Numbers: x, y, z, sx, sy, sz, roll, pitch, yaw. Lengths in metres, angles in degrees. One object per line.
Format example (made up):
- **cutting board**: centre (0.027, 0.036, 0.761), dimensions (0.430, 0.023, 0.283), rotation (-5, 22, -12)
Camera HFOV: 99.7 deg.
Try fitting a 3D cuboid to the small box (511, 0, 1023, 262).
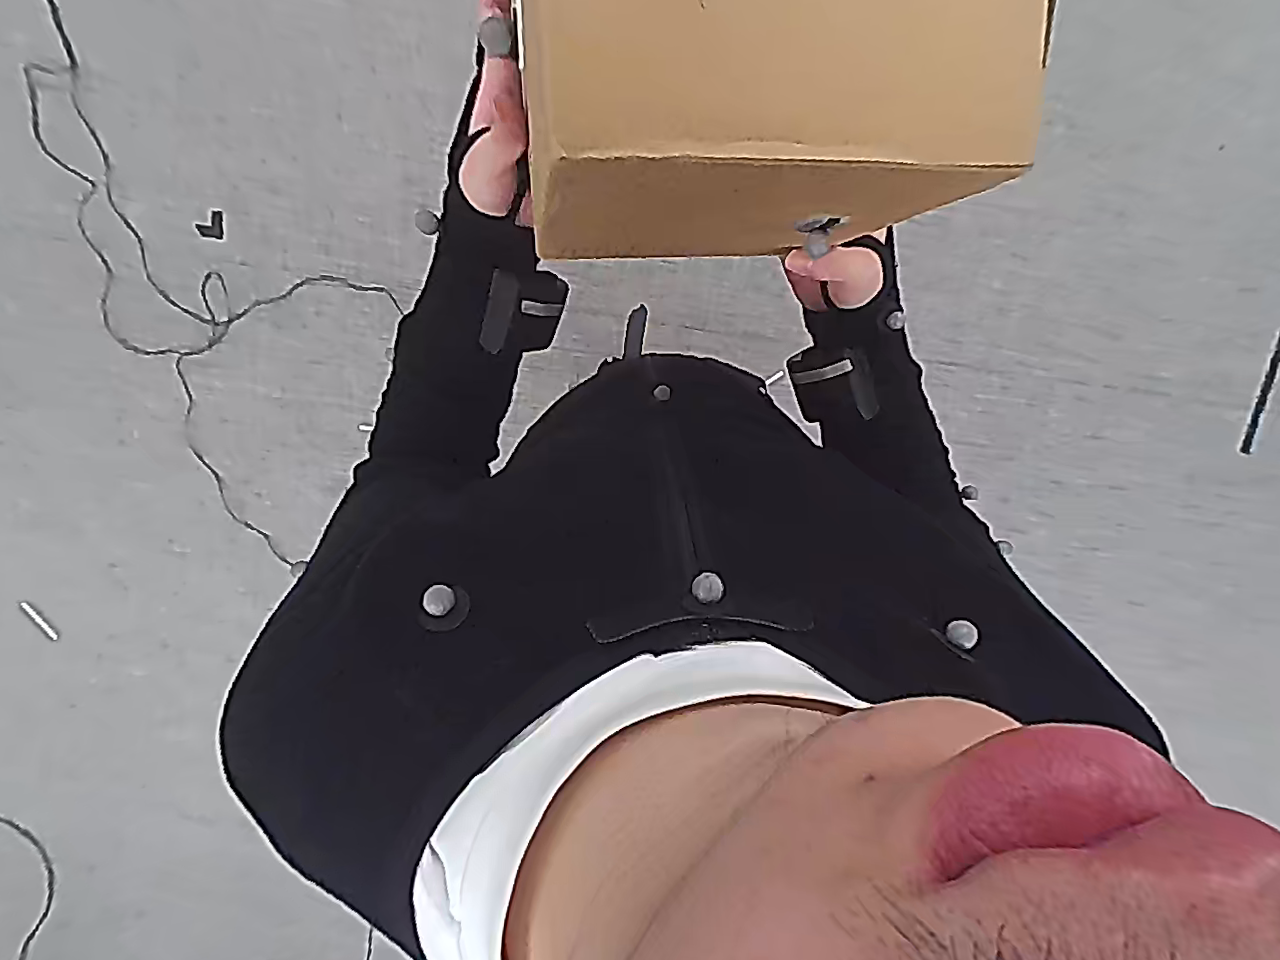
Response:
- **small box**: centre (0.035, -0.202, 0.248), dimensions (0.179, 0.176, 0.168), rotation (-6, 103, -10)
